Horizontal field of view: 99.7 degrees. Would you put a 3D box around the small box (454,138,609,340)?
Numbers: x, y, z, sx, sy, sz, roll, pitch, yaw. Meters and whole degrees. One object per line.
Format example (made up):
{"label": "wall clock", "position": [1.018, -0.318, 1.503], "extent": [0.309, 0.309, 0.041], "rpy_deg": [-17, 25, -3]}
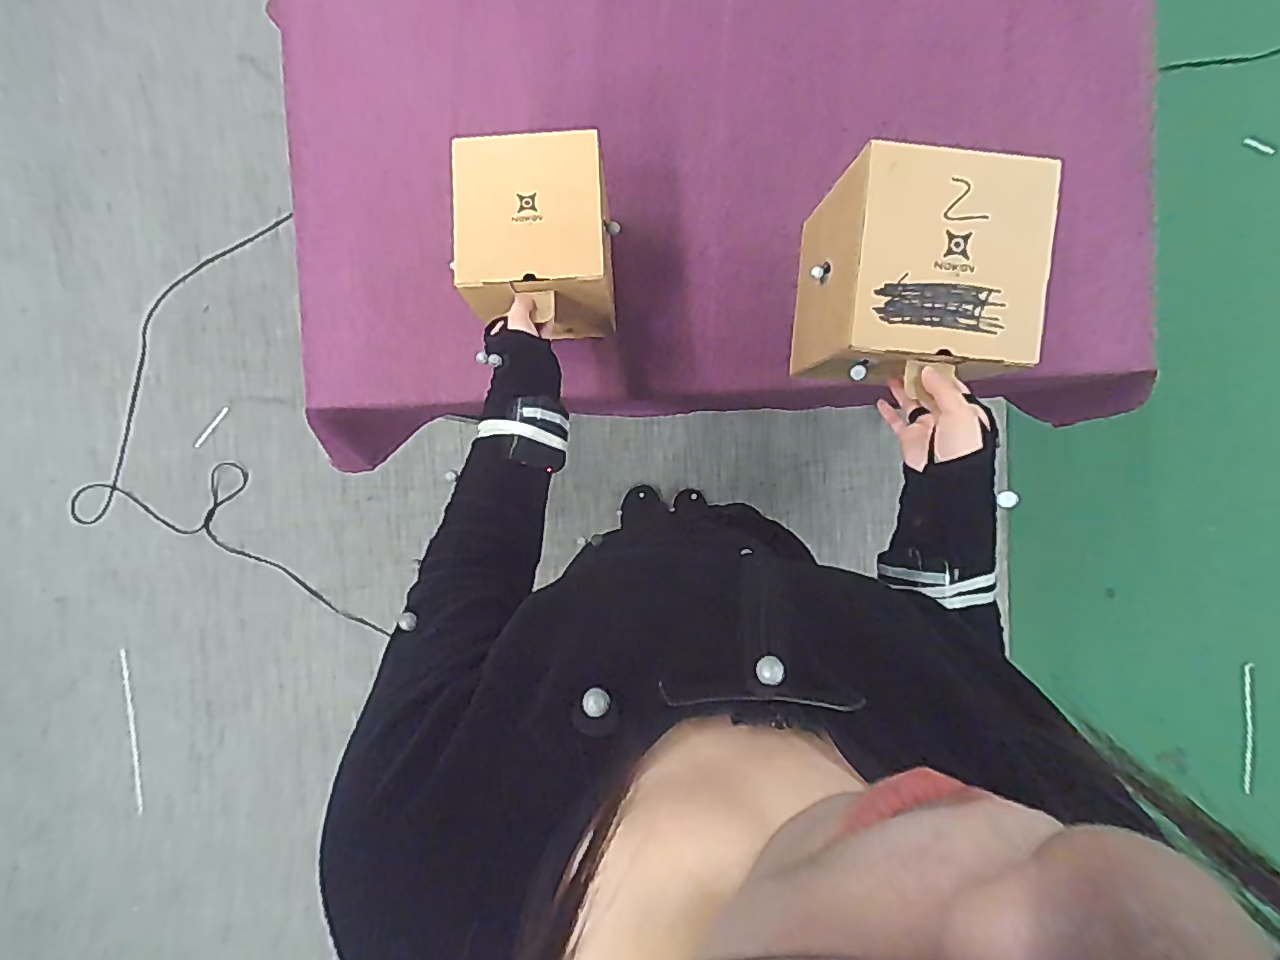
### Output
{"label": "small box", "position": [-0.128, -0.295, 0.690], "extent": [0.168, 0.176, 0.179], "rpy_deg": [-3, 85, 1]}
